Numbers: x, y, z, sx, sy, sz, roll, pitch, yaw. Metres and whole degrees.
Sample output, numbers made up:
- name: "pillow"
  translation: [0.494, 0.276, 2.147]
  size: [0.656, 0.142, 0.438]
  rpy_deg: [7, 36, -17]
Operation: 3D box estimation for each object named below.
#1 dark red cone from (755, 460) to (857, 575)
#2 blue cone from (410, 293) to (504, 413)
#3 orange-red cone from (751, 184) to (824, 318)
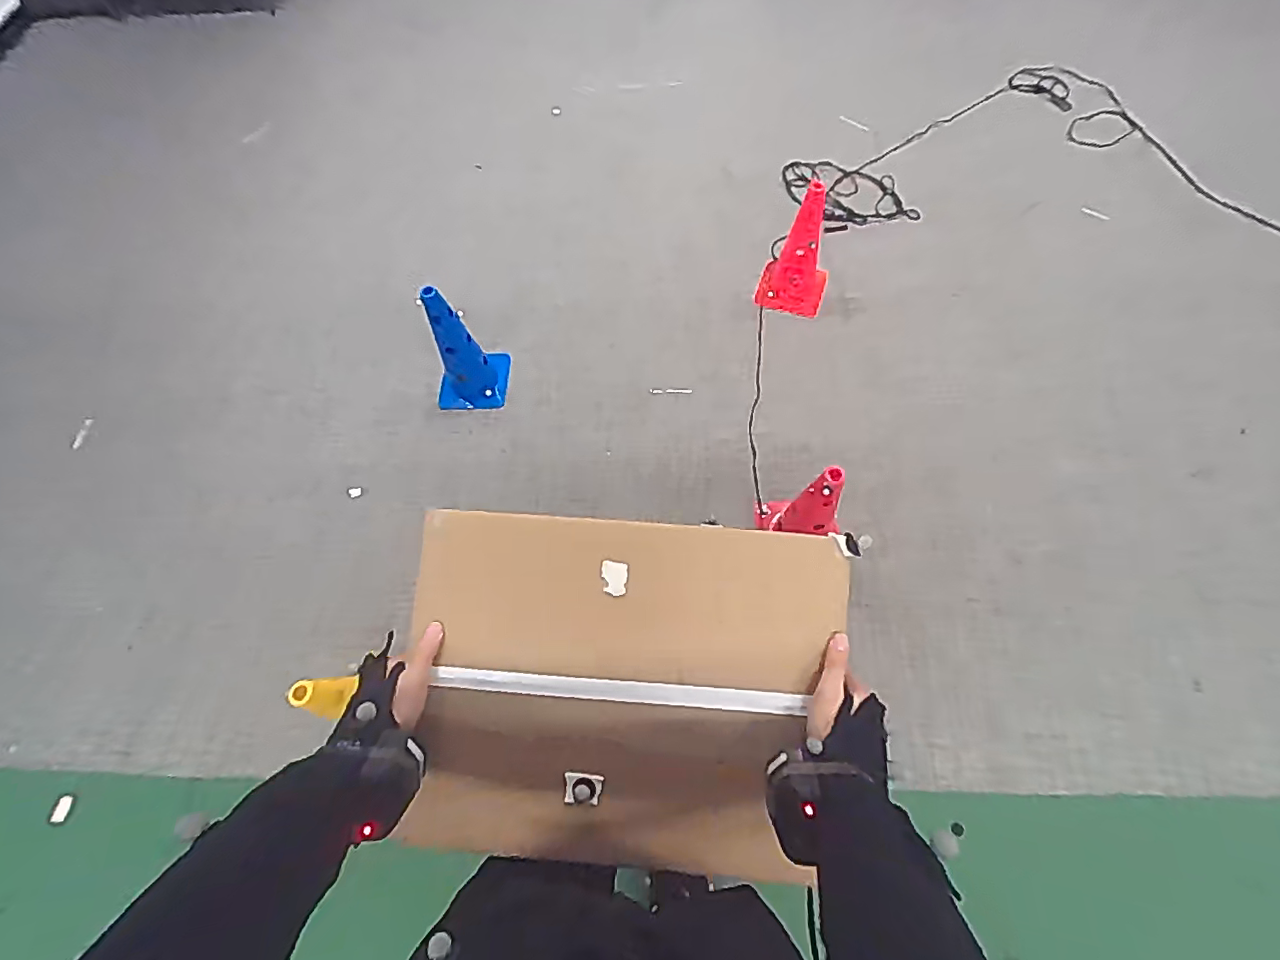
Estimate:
- name: "dark red cone"
  translation: [0.380, 0.058, 1.155]
  size: [0.202, 0.394, 0.201]
  rpy_deg: [-7, 66, 0]
- name: "blue cone"
  translation: [-0.517, -0.357, 1.473]
  size: [0.192, 0.380, 0.193]
  rpy_deg: [0, 63, 4]
- name: "orange-red cone"
  translation: [0.458, -0.675, 1.549]
  size: [0.199, 0.360, 0.198]
  rpy_deg: [18, 67, 11]
